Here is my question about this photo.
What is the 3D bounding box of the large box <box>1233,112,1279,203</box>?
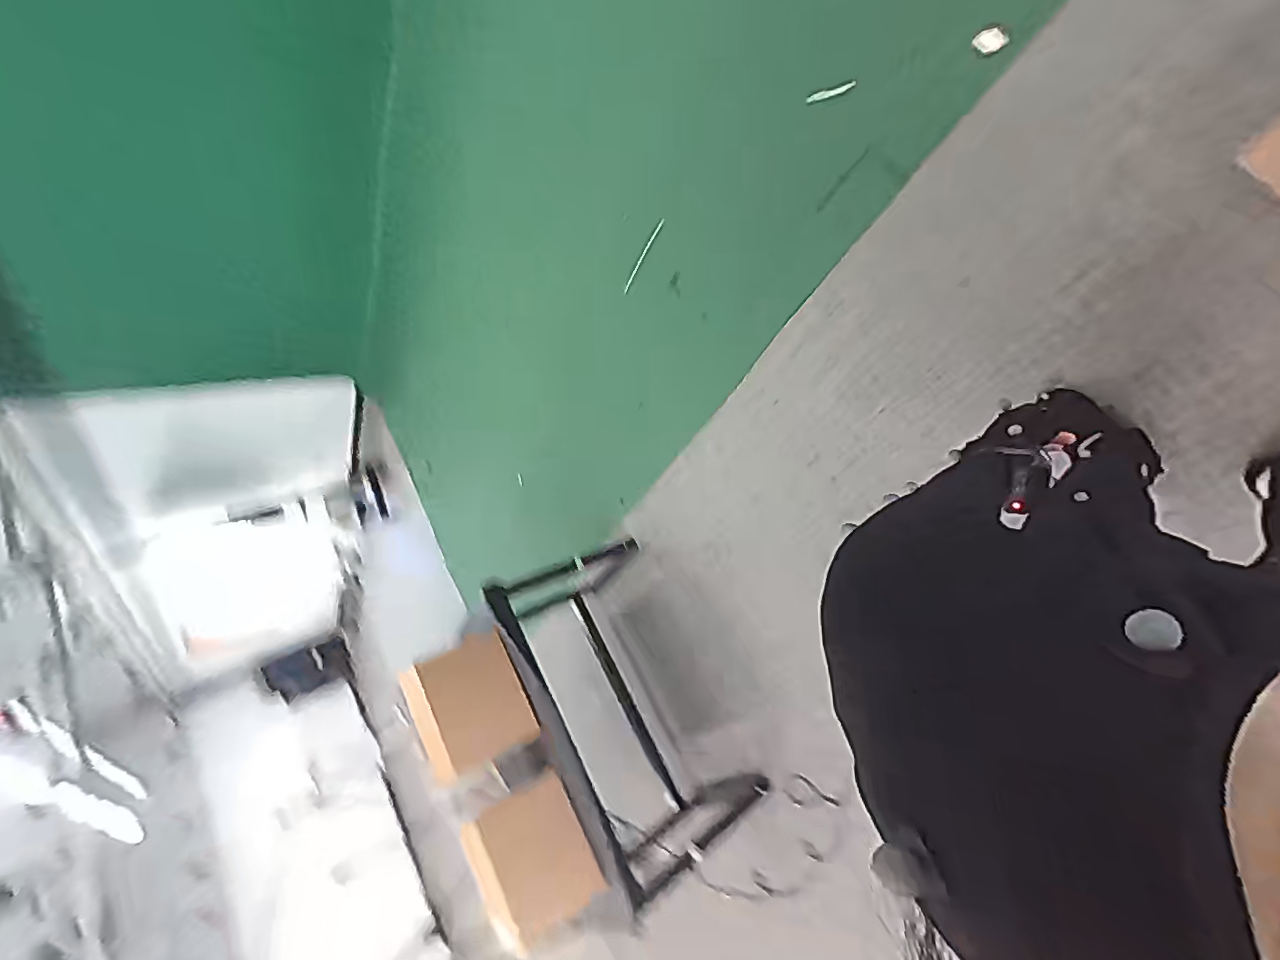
[{"bbox_3d":[1.098,-0.404,0.668,0.320,0.320,0.408,-49,63,46],"label":"large box"}]
